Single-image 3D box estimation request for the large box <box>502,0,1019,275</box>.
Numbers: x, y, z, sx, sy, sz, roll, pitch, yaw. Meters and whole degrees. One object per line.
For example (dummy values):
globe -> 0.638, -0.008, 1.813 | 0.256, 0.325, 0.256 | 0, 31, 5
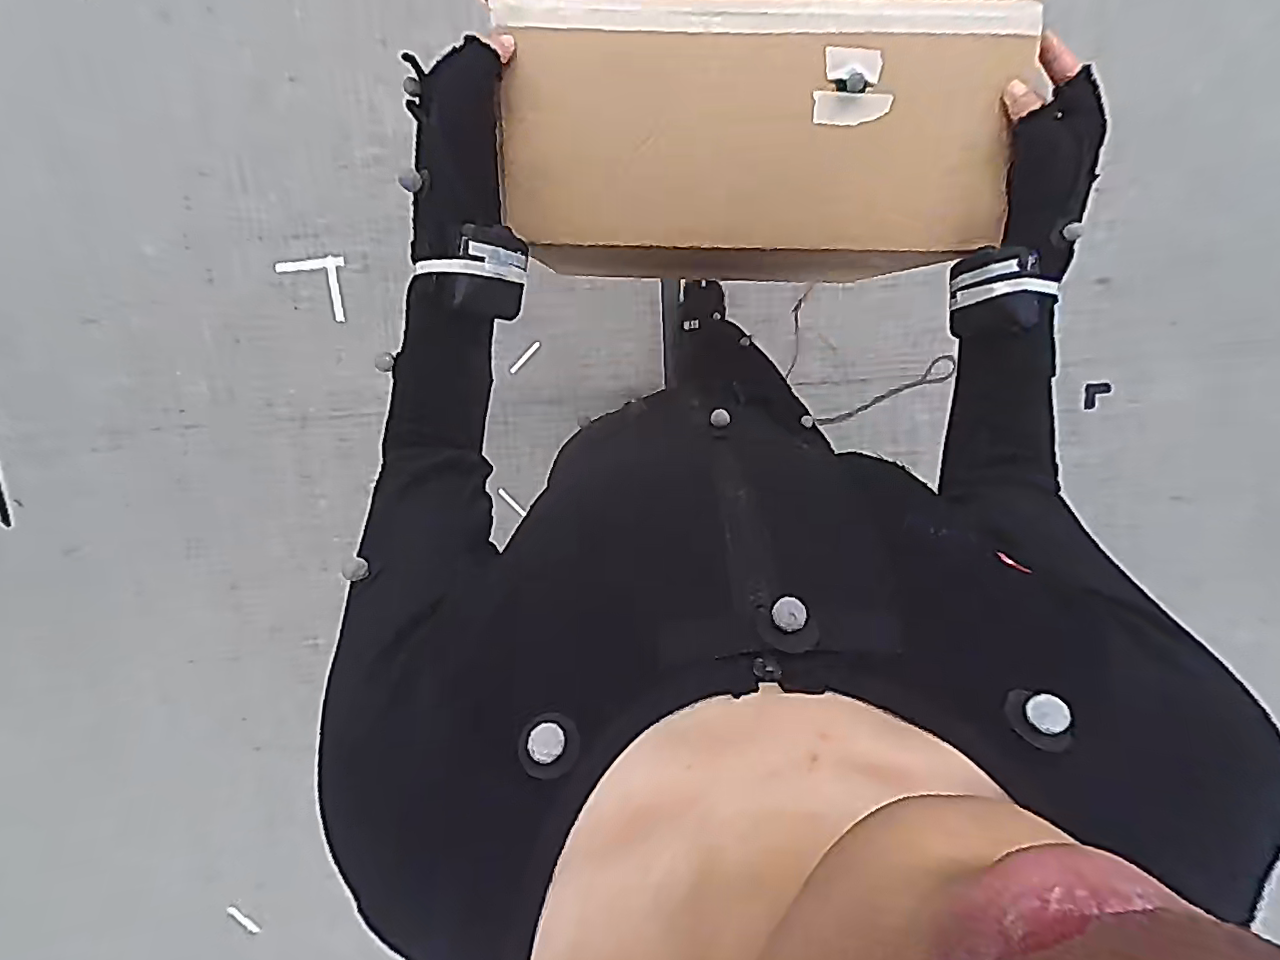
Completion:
large box -> 0.088, -0.392, 0.559 | 0.408, 0.320, 0.320 | 0, 106, -1
